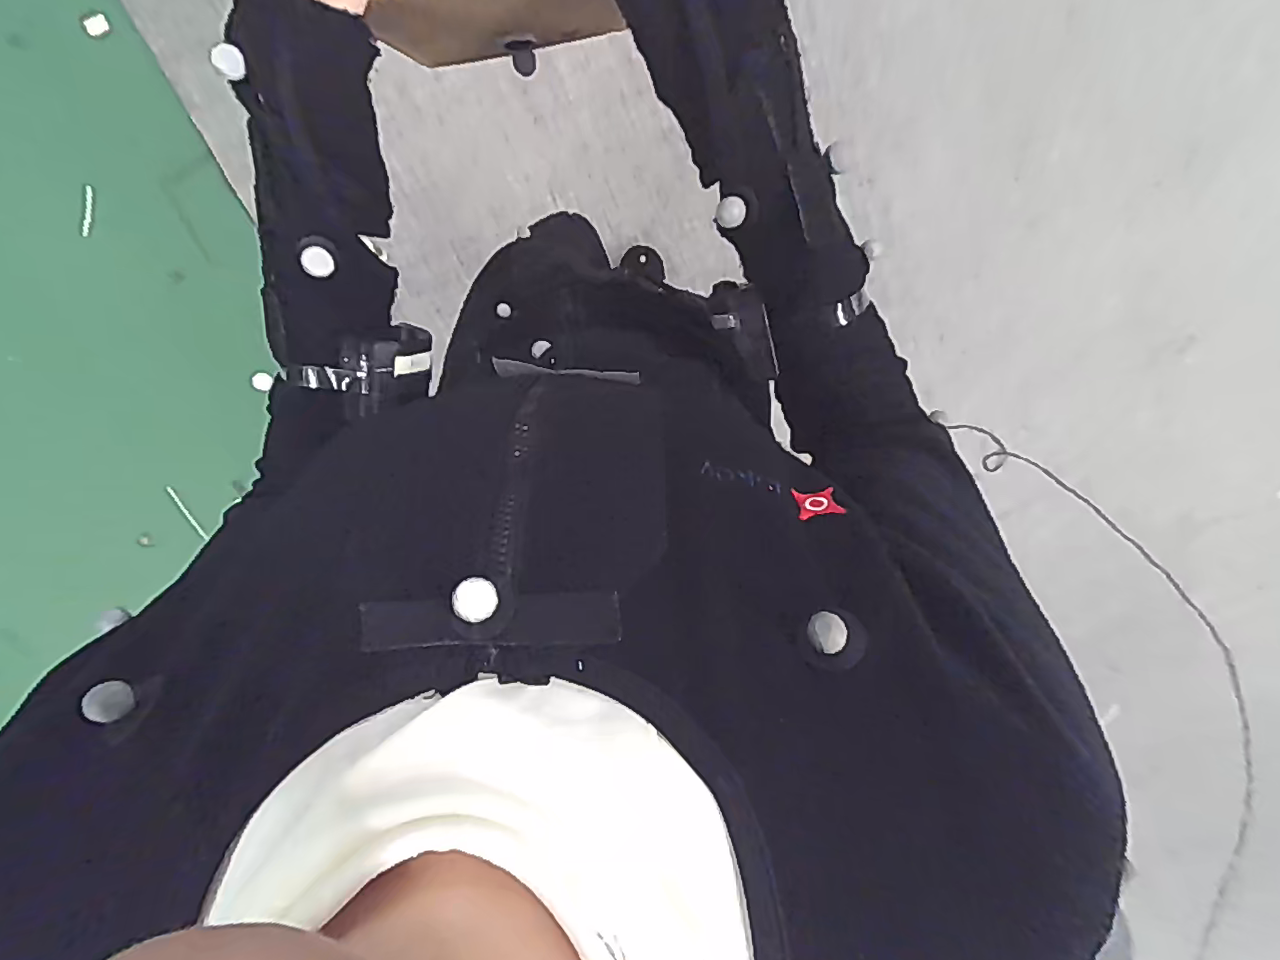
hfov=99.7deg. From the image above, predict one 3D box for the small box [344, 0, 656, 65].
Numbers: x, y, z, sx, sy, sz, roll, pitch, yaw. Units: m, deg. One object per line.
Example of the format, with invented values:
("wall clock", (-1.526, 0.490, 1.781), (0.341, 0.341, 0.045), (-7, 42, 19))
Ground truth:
("small box", (-0.082, -0.348, 0.277), (0.168, 0.176, 0.179), (-8, 119, 5))
